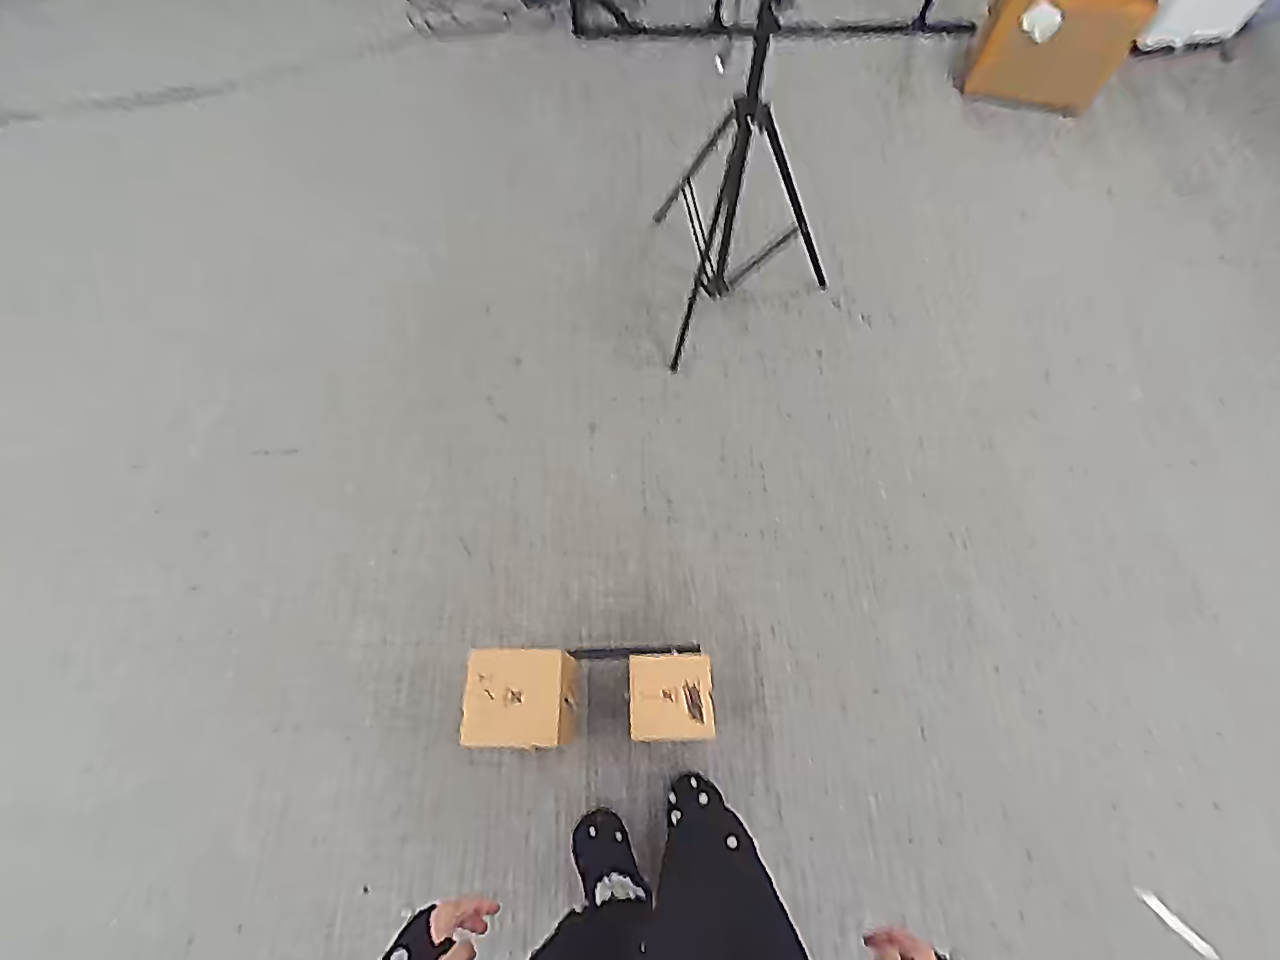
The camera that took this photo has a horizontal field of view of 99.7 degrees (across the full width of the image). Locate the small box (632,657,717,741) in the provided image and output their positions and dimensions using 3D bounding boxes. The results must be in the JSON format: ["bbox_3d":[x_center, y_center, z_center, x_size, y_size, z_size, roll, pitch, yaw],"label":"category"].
[{"bbox_3d":[0.071,0.485,1.204,0.179,0.176,0.168,-1,67,1],"label":"small box"}]

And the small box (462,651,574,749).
[{"bbox_3d":[-0.225,0.426,1.052,0.179,0.176,0.168,0,67,1],"label":"small box"}]
